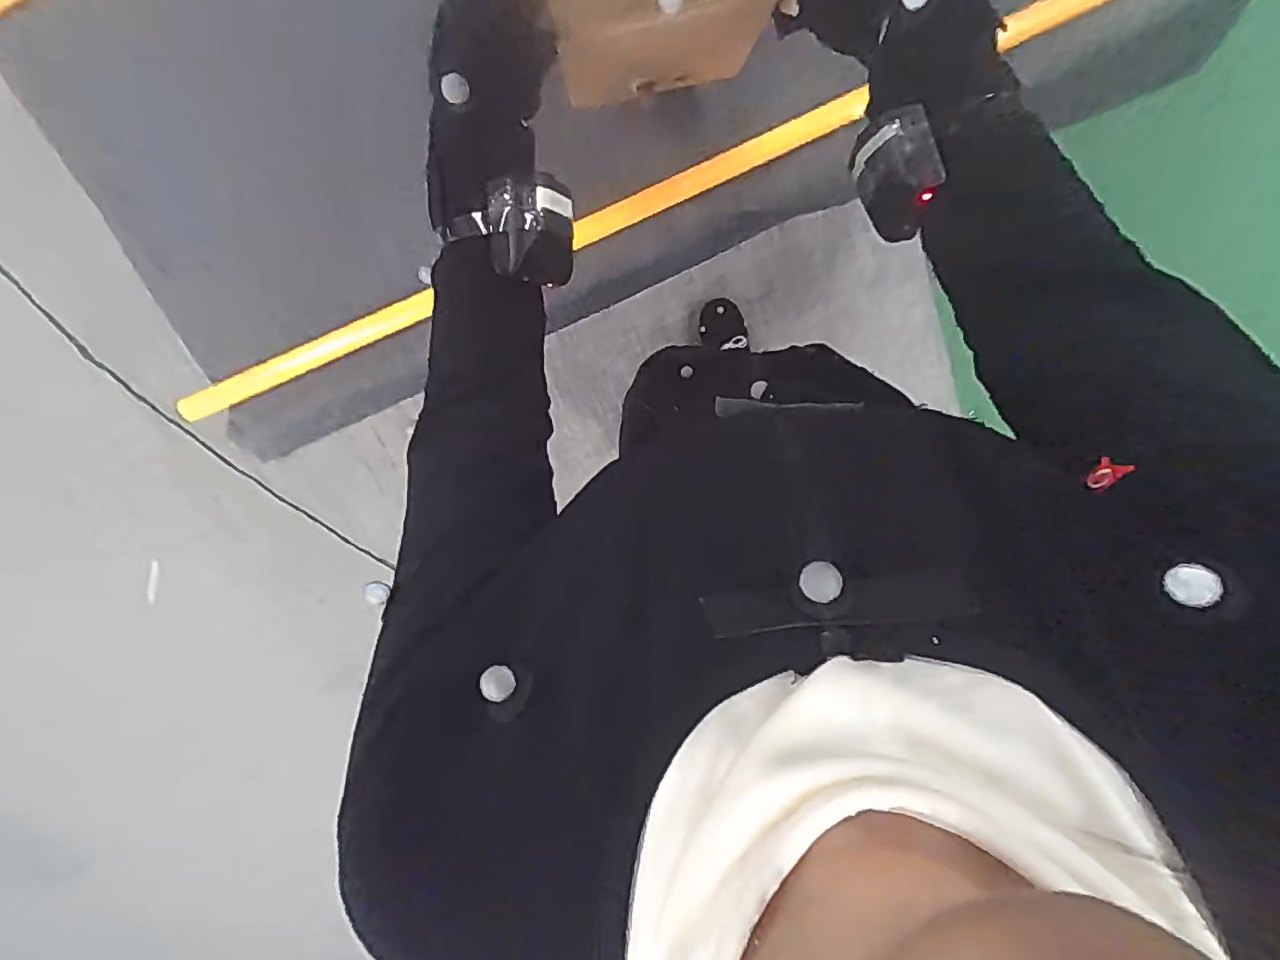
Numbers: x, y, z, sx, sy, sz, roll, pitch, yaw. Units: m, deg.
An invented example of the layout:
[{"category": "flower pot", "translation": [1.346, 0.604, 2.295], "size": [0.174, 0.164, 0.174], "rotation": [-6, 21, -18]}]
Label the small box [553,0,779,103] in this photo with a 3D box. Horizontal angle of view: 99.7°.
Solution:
[{"category": "small box", "translation": [0.005, -0.436, 0.427], "size": [0.168, 0.176, 0.179], "rotation": [-11, 112, 3]}]

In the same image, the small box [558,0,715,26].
[{"category": "small box", "translation": [0.010, -0.381, 0.271], "size": [0.168, 0.176, 0.179], "rotation": [-10, 111, 3]}]
